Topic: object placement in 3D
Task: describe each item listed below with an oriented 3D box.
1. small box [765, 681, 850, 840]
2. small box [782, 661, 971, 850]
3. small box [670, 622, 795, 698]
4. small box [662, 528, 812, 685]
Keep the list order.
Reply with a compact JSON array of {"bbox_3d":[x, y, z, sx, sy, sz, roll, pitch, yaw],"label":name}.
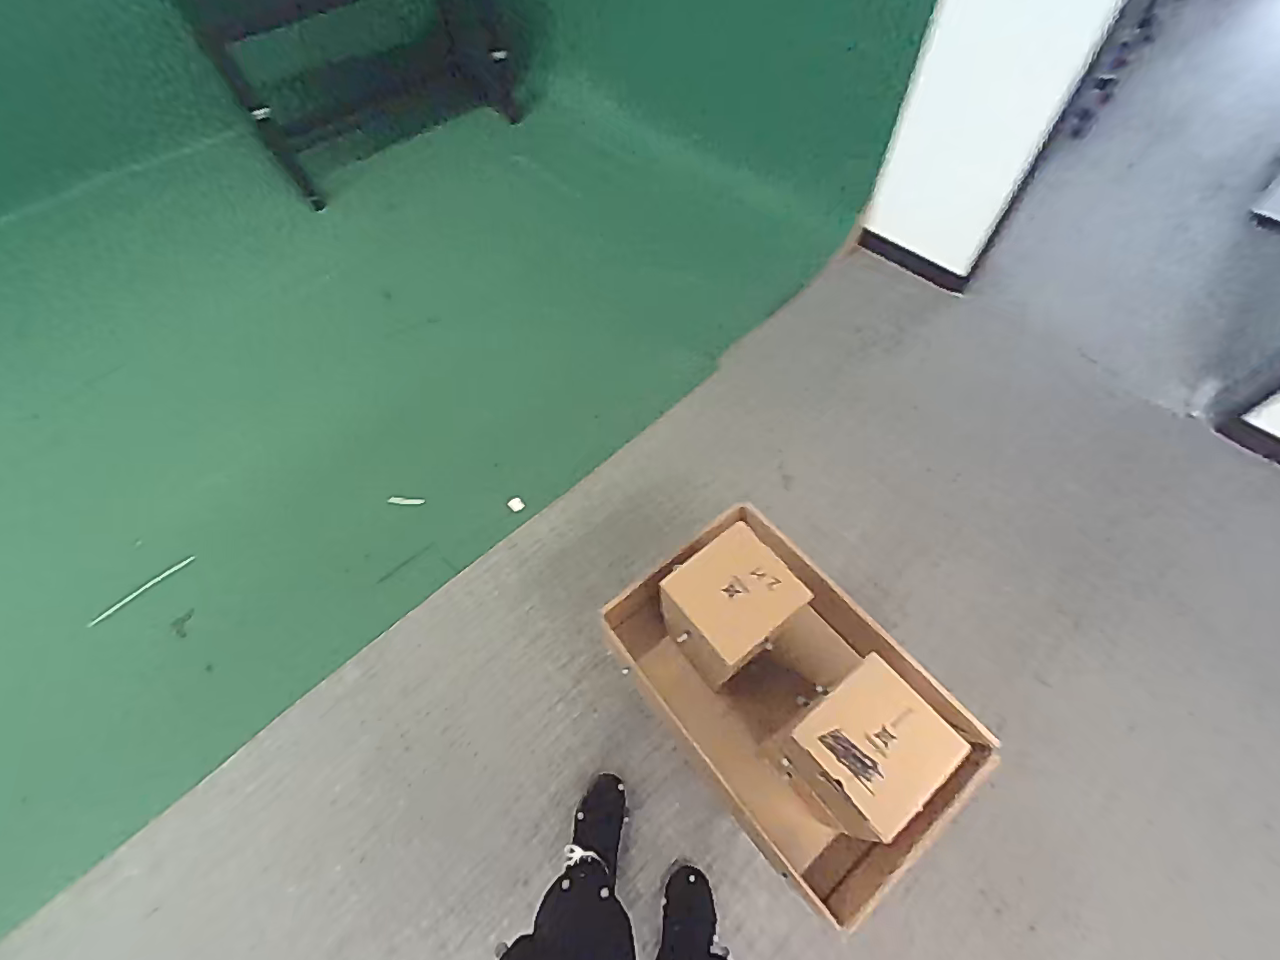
[{"bbox_3d":[0.336,0.485,0.937,0.179,0.176,0.168,-34,63,-16],"label":"small box"},{"bbox_3d":[0.329,0.402,0.795,0.179,0.176,0.168,-35,64,-17],"label":"small box"},{"bbox_3d":[0.169,0.295,1.054,0.179,0.176,0.168,-32,62,-15],"label":"small box"},{"bbox_3d":[0.156,0.219,0.909,0.179,0.176,0.168,-34,64,-15],"label":"small box"}]
